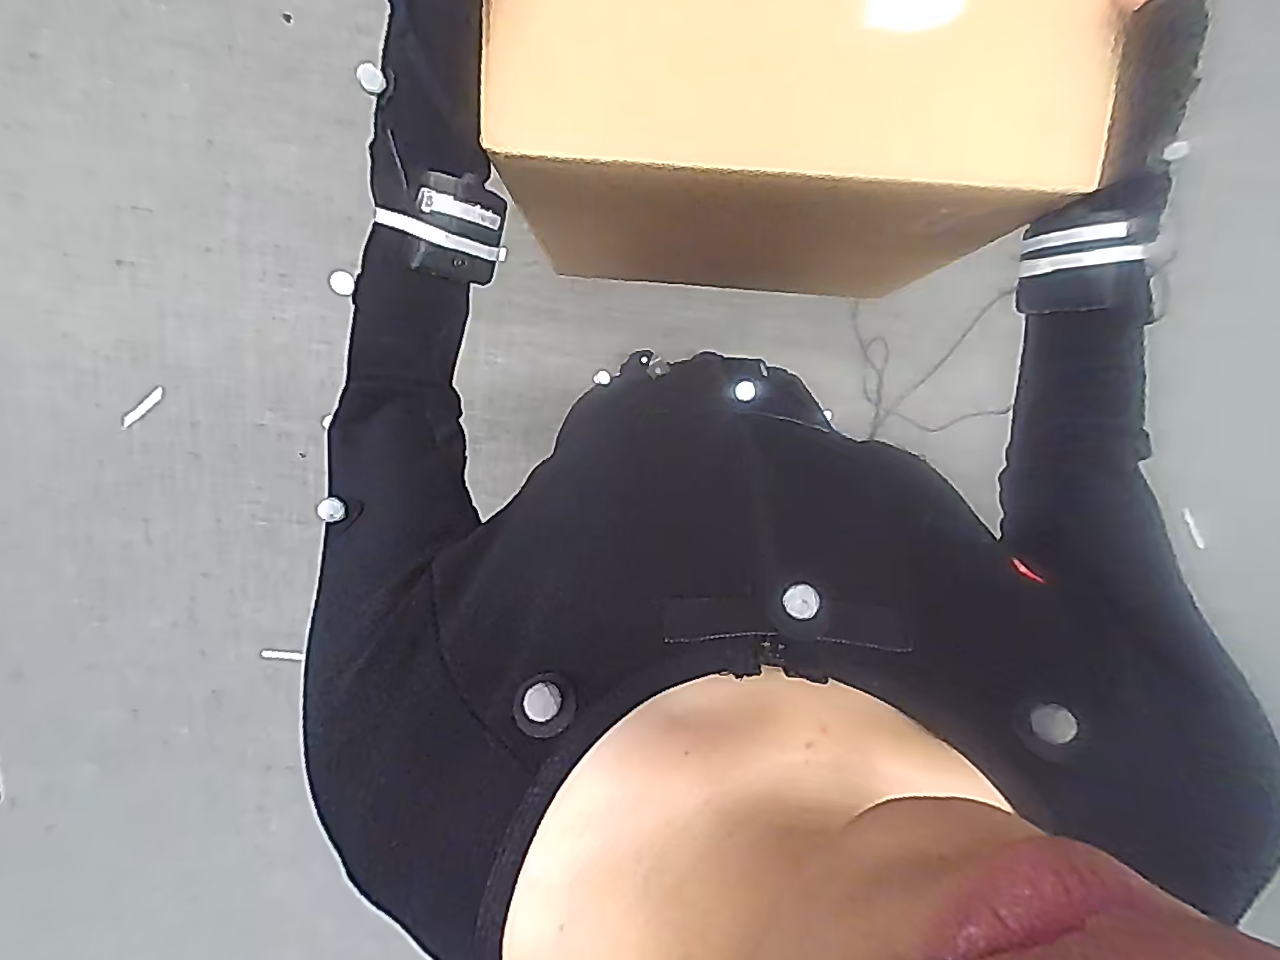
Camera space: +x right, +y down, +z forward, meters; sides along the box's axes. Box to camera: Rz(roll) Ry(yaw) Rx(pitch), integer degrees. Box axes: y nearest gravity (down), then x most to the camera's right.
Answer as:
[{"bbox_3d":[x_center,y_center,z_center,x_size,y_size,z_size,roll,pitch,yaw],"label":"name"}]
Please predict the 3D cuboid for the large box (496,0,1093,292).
[{"bbox_3d":[0.102,-0.376,0.504,0.408,0.320,0.320,3,96,-1],"label":"large box"}]
